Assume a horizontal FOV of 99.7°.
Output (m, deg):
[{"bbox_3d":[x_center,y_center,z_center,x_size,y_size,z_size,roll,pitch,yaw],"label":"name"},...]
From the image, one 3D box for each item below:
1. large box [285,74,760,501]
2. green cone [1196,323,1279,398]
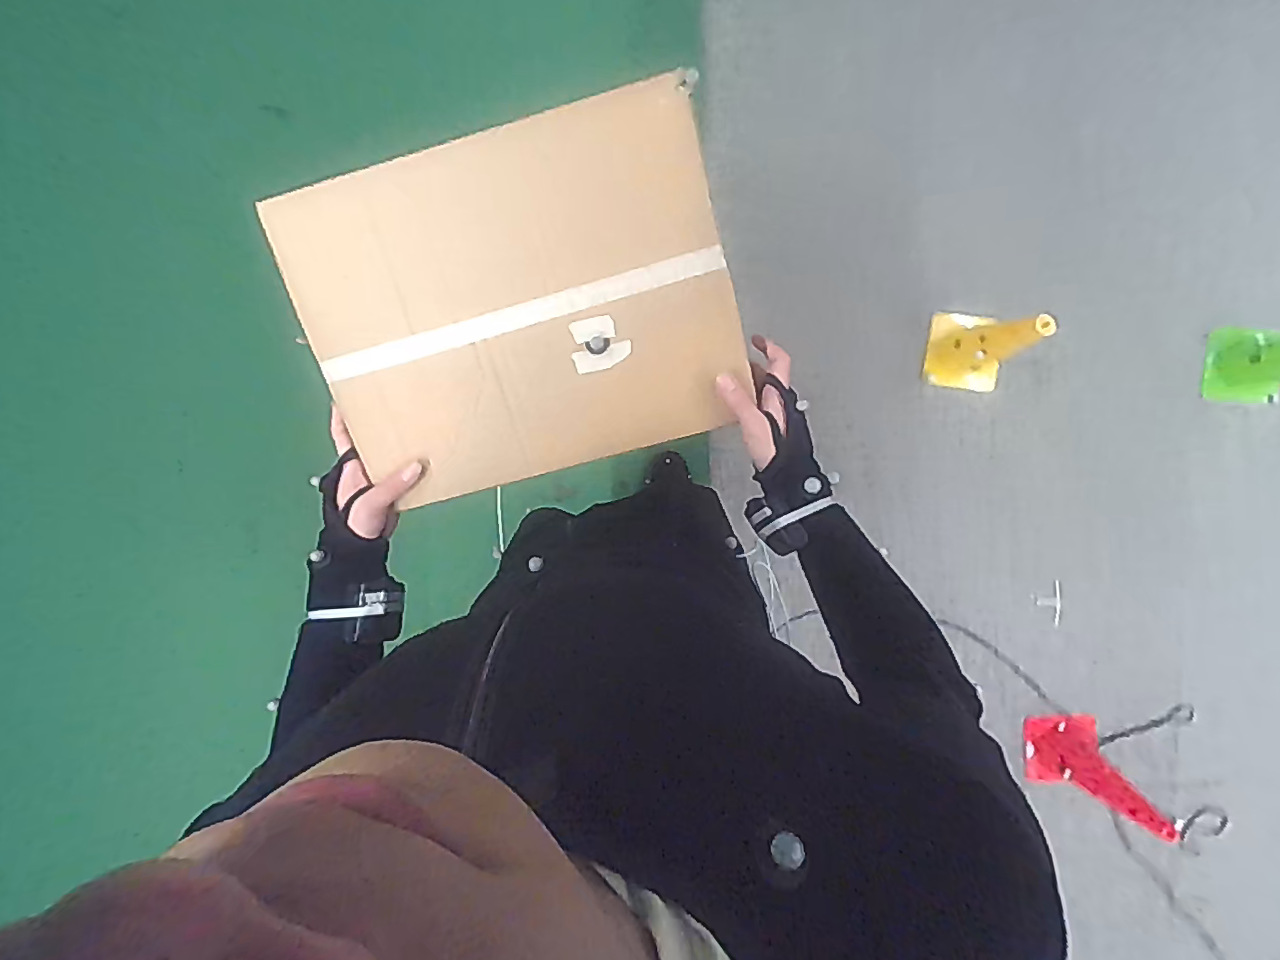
[{"bbox_3d":[-0.107,-0.205,0.670,0.408,0.320,0.320,-14,105,4],"label":"large box"},{"bbox_3d":[1.646,-0.322,1.327,0.202,0.368,0.200,5,93,5],"label":"green cone"}]
